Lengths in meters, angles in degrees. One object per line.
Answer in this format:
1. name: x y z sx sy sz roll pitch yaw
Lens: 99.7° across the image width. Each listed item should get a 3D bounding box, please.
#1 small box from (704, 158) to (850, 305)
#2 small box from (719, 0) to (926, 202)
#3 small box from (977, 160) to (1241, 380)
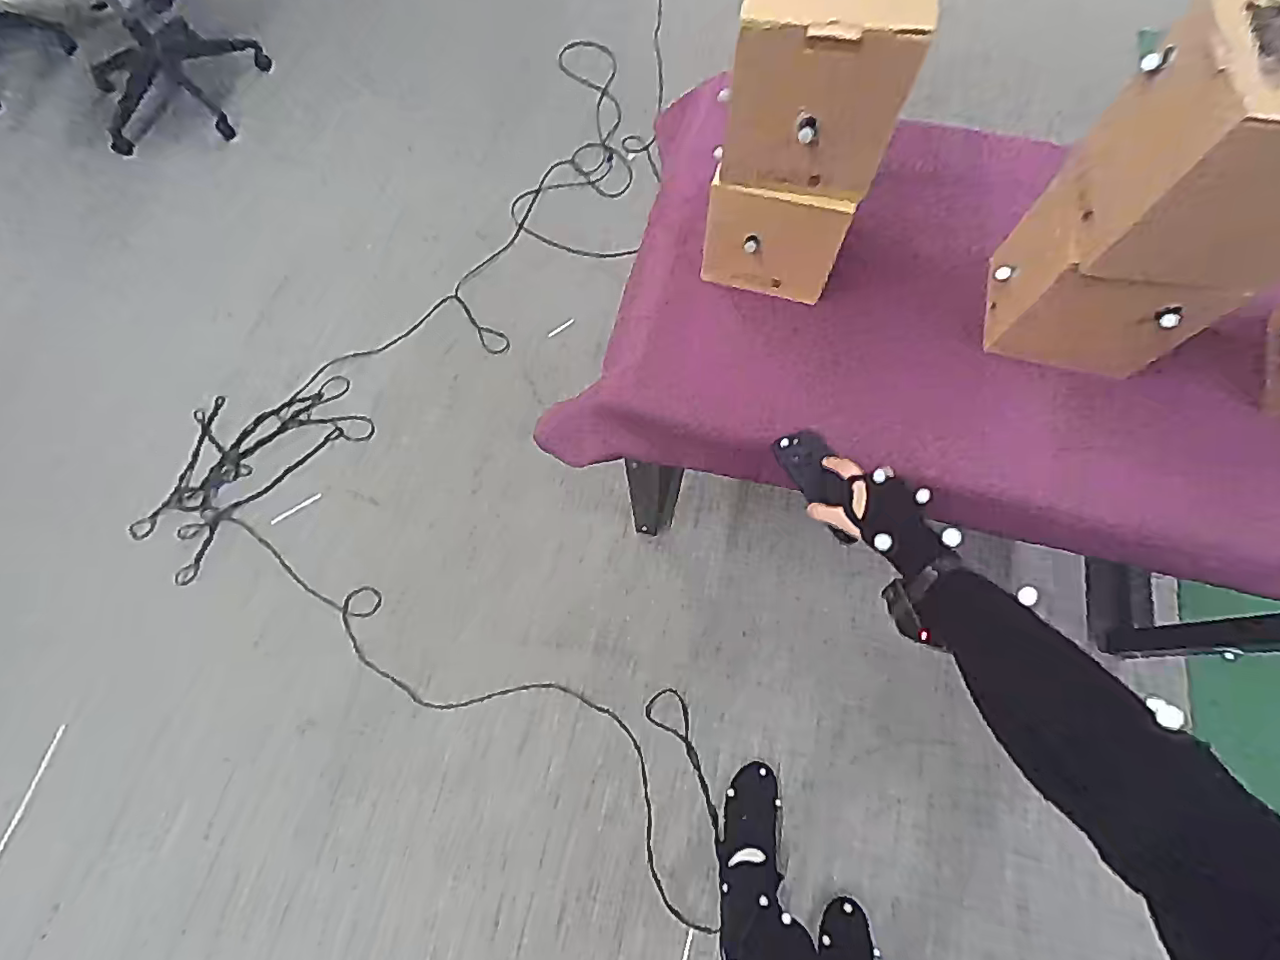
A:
1. small box: 0.185 -0.363 0.718 0.168 0.176 0.179 16 71 8
2. small box: 0.181 -0.428 0.567 0.168 0.176 0.179 11 71 6
3. small box: 0.552 -0.242 0.657 0.179 0.176 0.168 15 71 8
